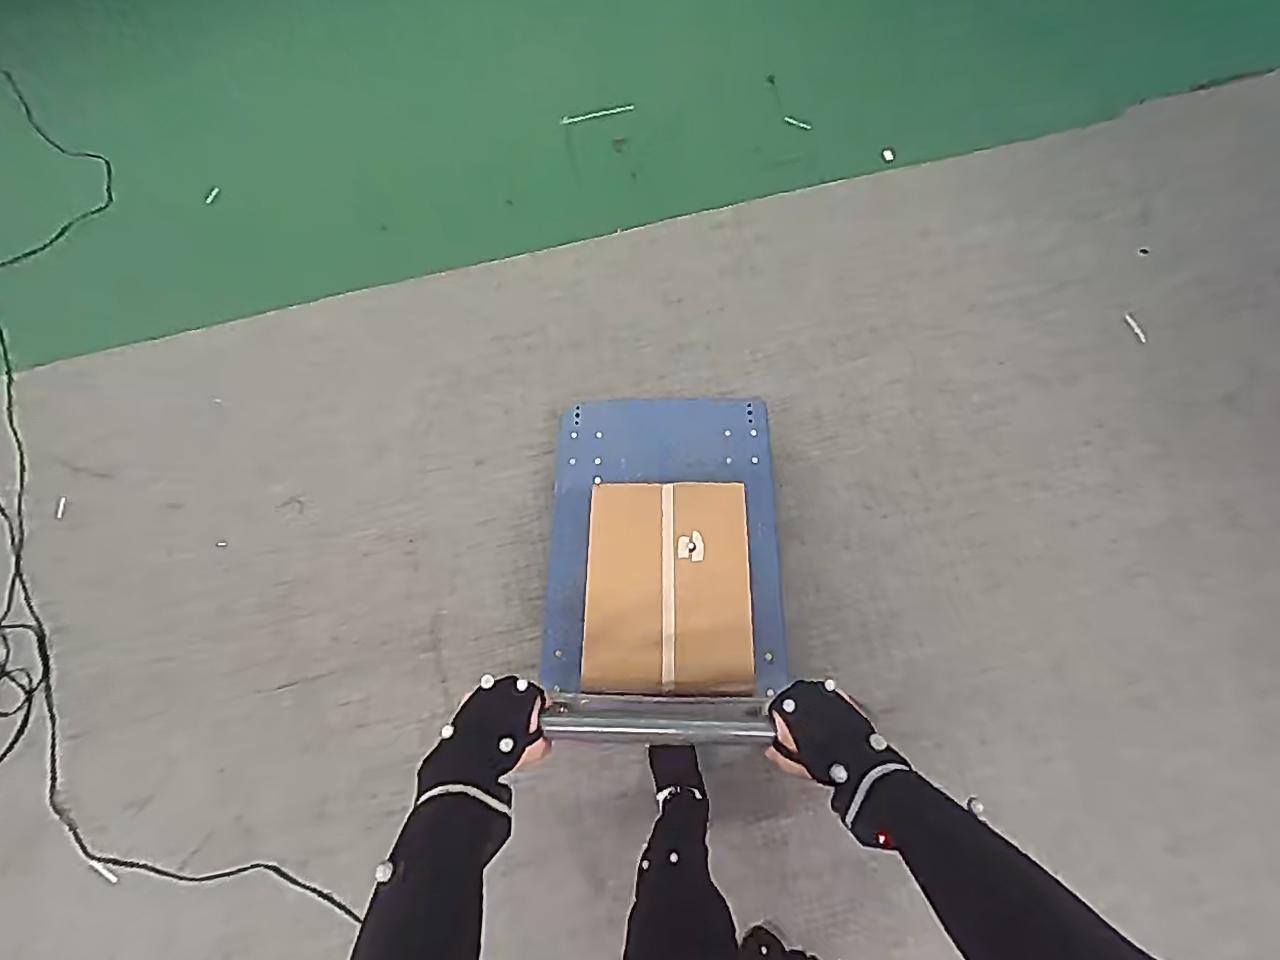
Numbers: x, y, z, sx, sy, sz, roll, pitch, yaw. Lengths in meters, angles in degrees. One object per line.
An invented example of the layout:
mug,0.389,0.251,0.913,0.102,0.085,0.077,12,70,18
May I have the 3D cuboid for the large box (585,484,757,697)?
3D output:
large box,0.066,0.252,1.175,0.320,0.320,0.408,0,67,3
